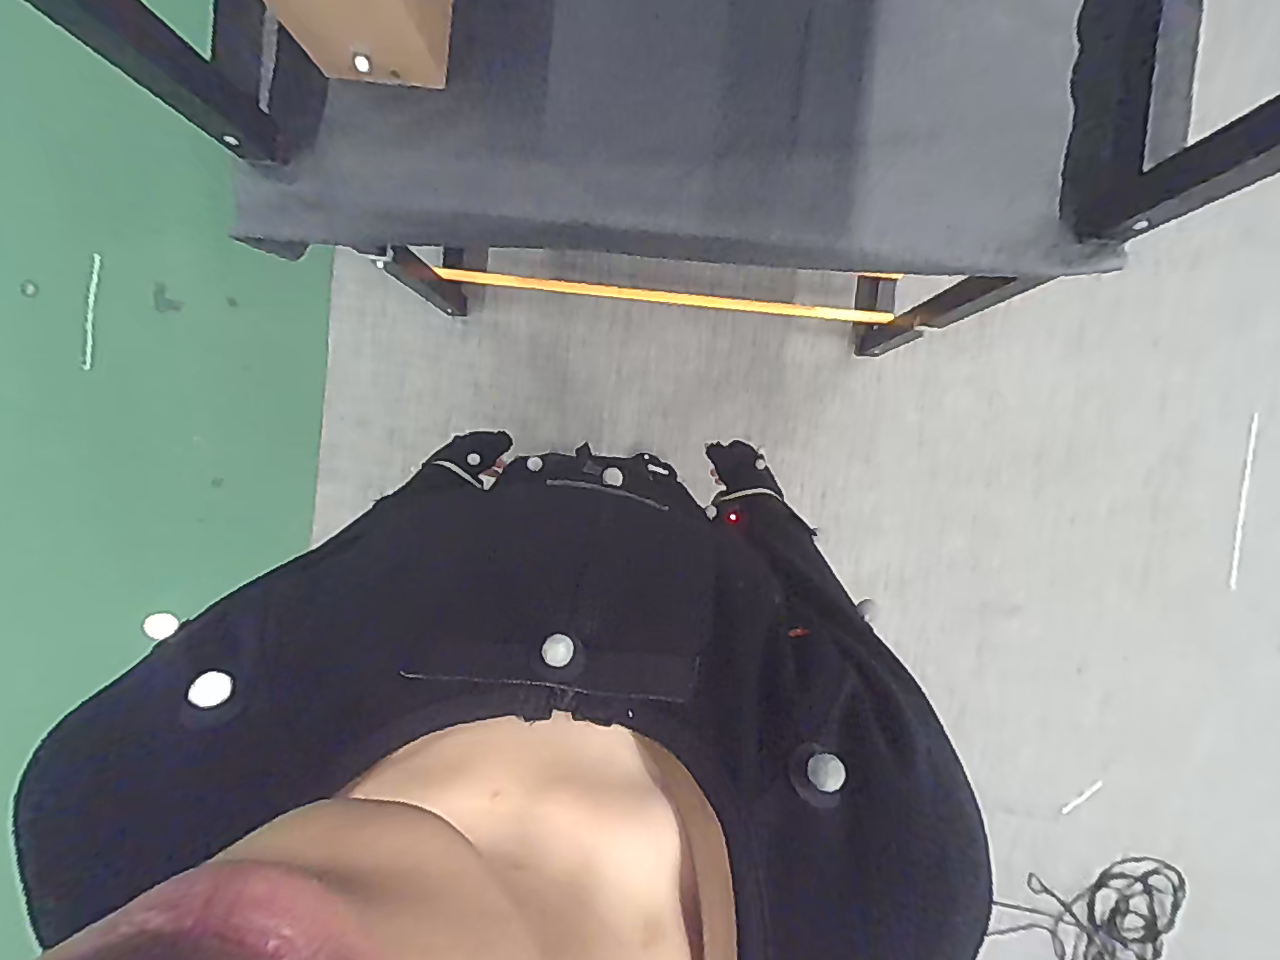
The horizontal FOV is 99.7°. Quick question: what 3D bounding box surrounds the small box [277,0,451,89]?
[{"bbox_3d":[-0.338,-0.624,0.652,0.168,0.176,0.179,6,93,0],"label":"small box"}]
